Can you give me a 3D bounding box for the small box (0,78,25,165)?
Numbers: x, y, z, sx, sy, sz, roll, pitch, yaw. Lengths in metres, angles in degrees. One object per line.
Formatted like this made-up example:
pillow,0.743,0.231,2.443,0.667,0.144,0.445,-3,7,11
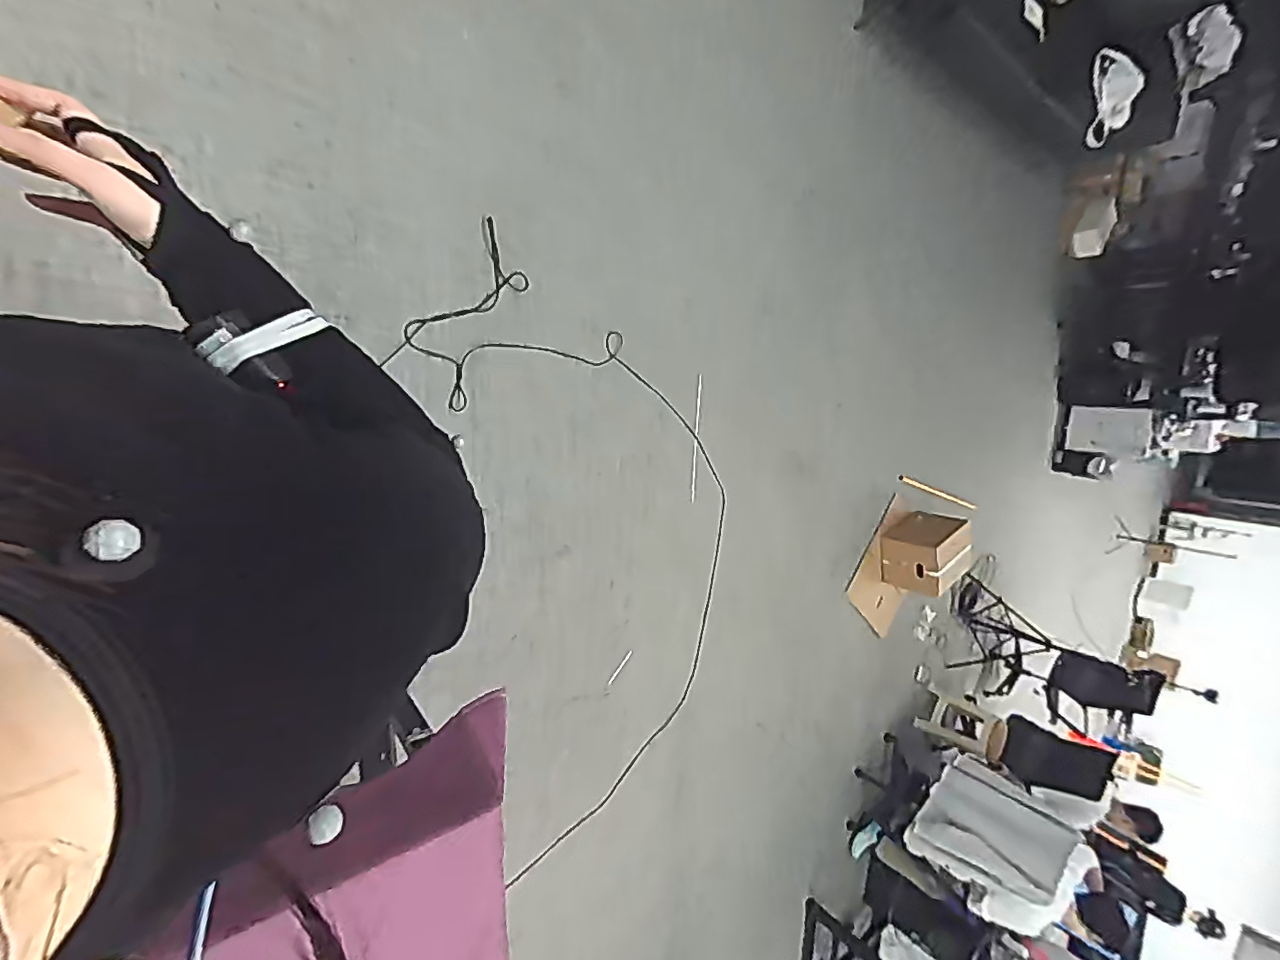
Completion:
small box,-0.488,-0.192,0.276,0.179,0.176,0.168,-37,141,5
